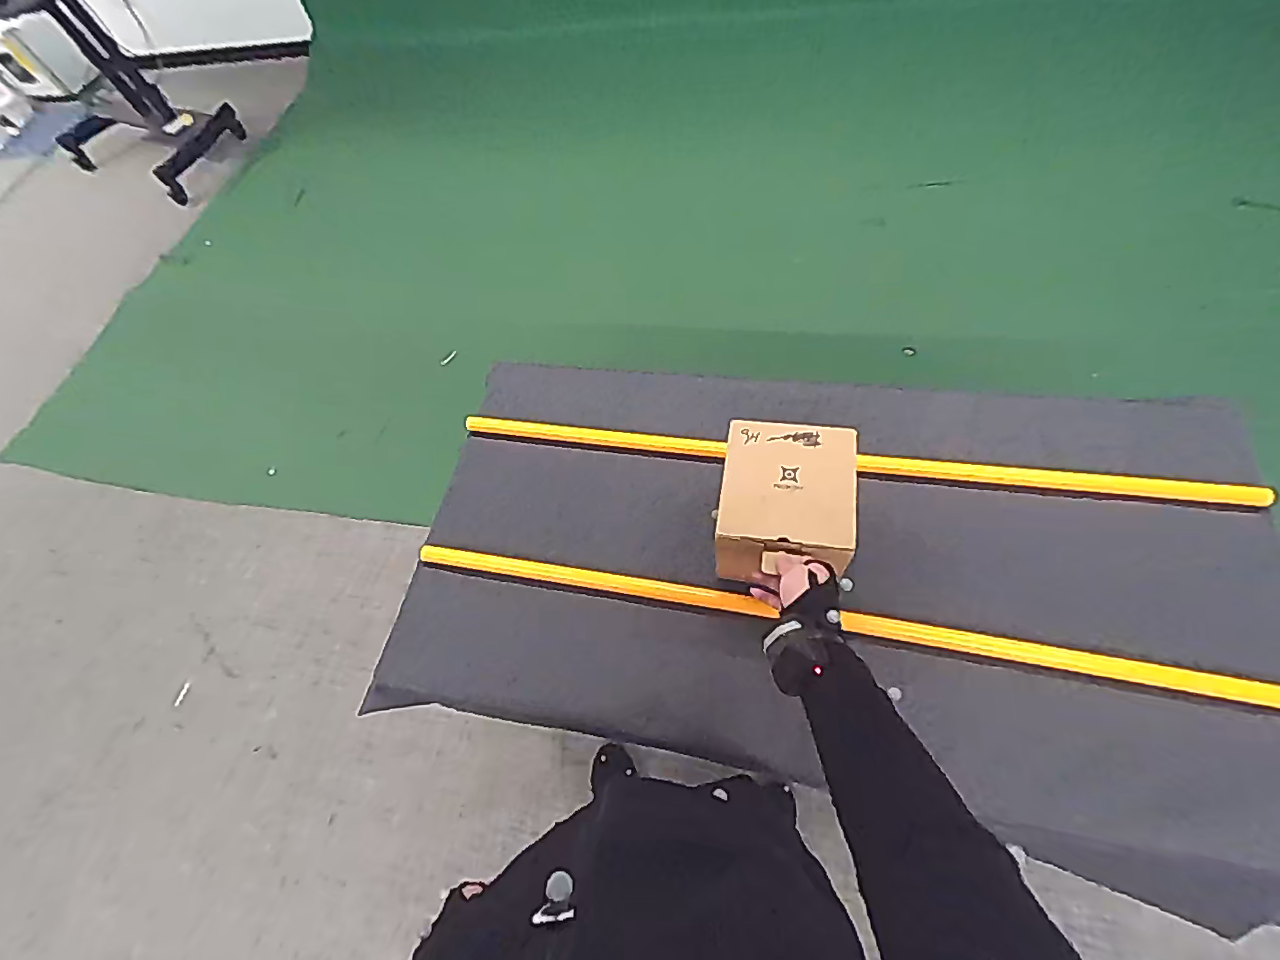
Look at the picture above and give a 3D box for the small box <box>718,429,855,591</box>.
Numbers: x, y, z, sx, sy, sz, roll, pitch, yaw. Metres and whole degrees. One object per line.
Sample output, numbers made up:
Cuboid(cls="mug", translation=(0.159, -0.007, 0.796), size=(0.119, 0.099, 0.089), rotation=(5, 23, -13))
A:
Cuboid(cls="small box", translation=(0.202, 0.046, 0.760), size=(0.168, 0.176, 0.179), rotation=(2, 61, 13))
